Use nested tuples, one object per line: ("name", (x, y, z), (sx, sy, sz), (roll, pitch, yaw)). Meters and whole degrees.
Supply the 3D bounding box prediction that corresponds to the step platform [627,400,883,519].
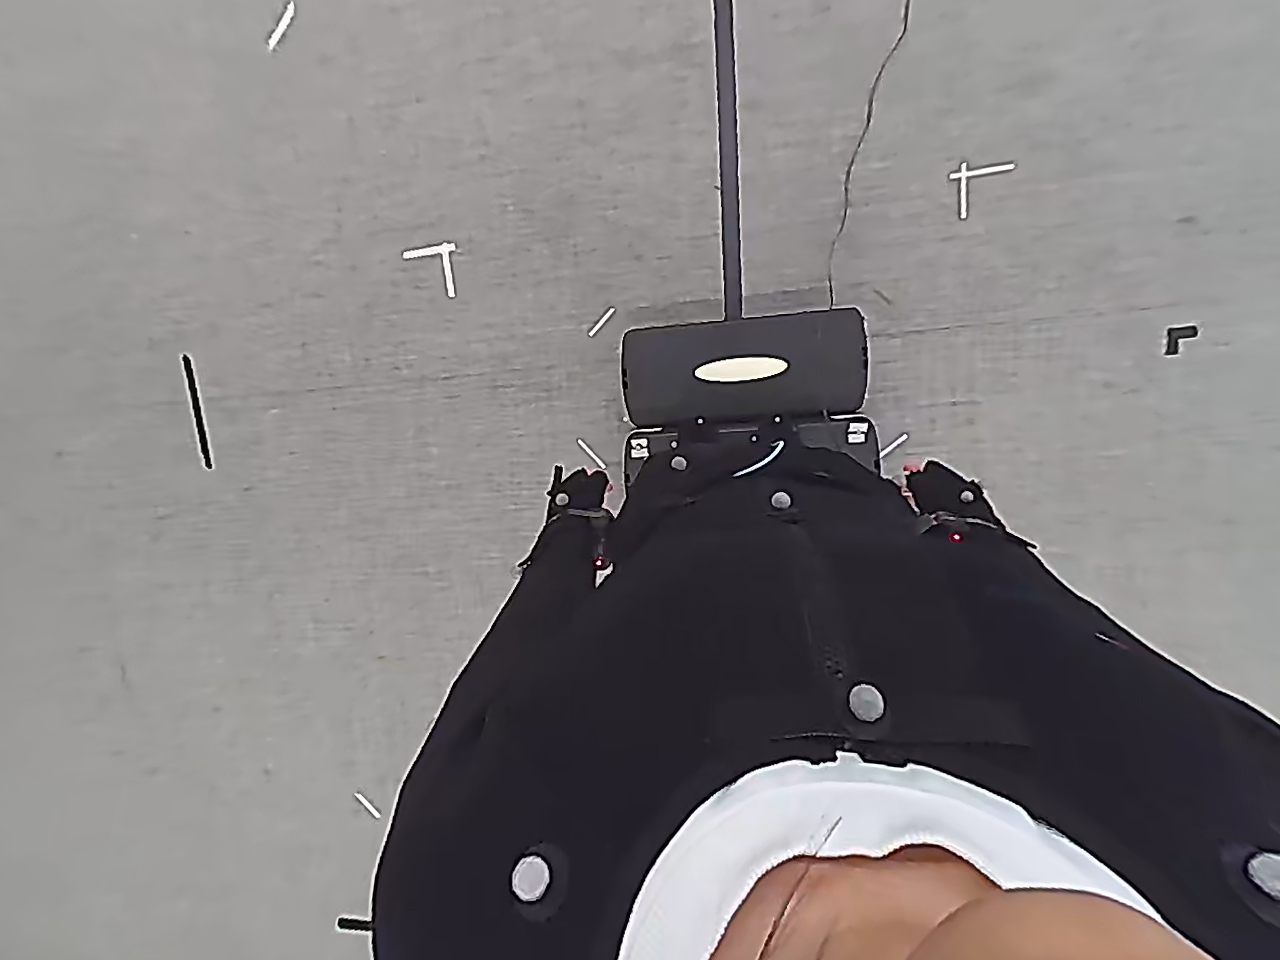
("step platform", (0.306, -0.055, 1.512), (0.684, 0.204, 0.286), (-4, 98, 11))
